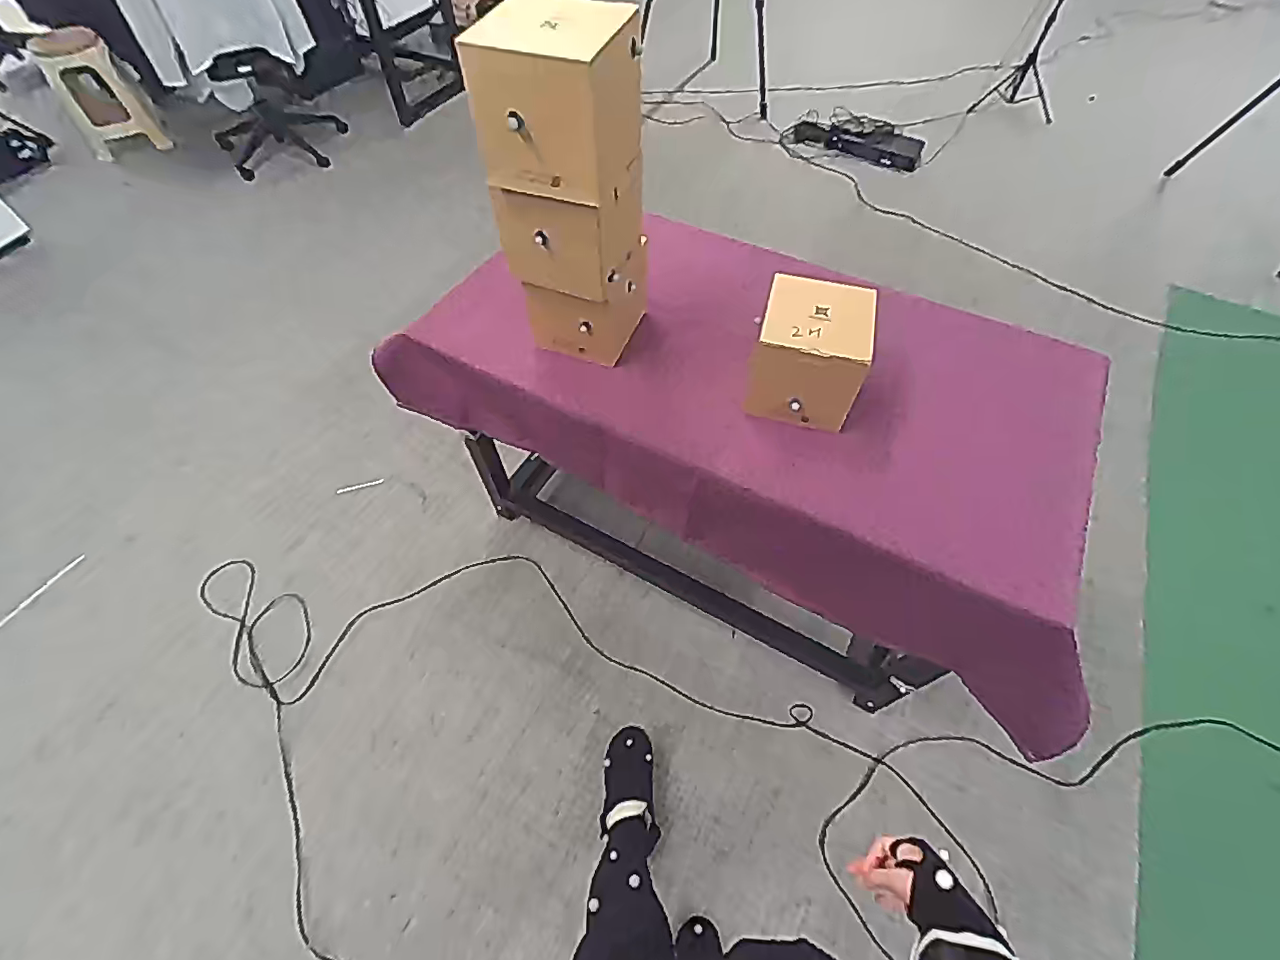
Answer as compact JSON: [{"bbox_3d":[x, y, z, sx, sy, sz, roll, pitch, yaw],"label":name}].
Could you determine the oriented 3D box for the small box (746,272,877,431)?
[{"bbox_3d":[0.279,-0.211,0.901,0.168,0.176,0.179,14,58,10],"label":"small box"}]

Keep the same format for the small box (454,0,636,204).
[{"bbox_3d":[-0.106,-0.488,0.701,0.168,0.176,0.179,16,58,10],"label":"small box"}]

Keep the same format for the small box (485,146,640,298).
[{"bbox_3d":[-0.108,-0.412,0.845,0.179,0.176,0.168,19,59,12],"label":"small box"}]

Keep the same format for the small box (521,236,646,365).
[{"bbox_3d":[-0.094,-0.341,0.994,0.168,0.176,0.179,19,58,12],"label":"small box"}]
